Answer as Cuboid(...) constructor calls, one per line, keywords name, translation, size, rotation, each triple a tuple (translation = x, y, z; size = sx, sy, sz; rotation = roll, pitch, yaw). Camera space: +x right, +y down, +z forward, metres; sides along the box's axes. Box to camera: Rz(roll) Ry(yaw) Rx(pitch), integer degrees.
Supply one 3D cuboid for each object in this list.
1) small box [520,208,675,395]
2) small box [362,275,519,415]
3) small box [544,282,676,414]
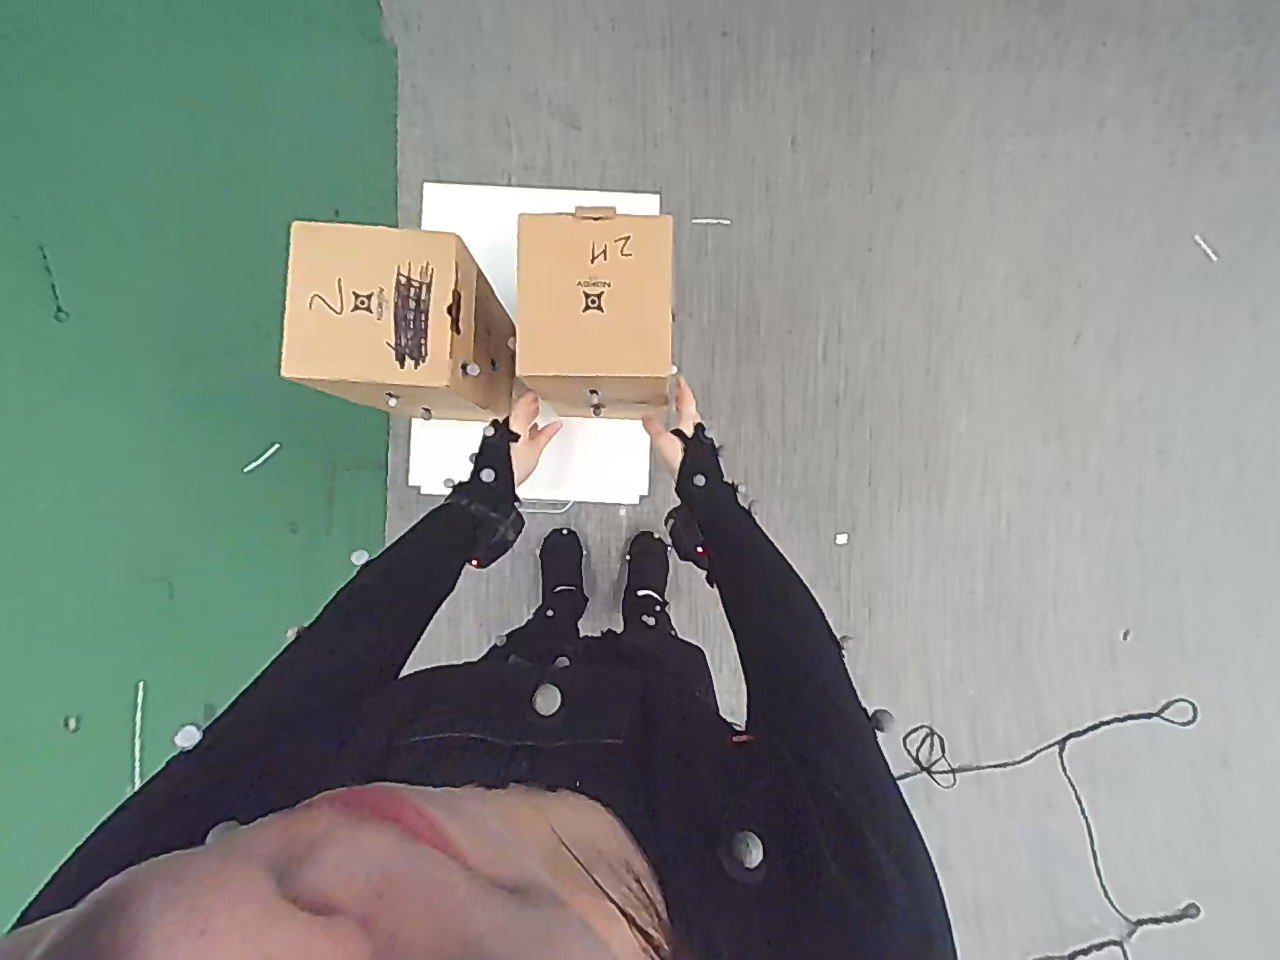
Cuboid(name="small box", translation=(-0.046, -0.201, 0.655), size=(0.168, 0.176, 0.179), rotation=(1, 89, -1))
Cuboid(name="small box", translation=(-0.289, -0.192, 0.815), size=(0.179, 0.176, 0.168), rotation=(3, 90, -3))
Cuboid(name="small box", translation=(-0.042, -0.194, 0.820), size=(0.179, 0.176, 0.168), rotation=(3, 89, -1))
